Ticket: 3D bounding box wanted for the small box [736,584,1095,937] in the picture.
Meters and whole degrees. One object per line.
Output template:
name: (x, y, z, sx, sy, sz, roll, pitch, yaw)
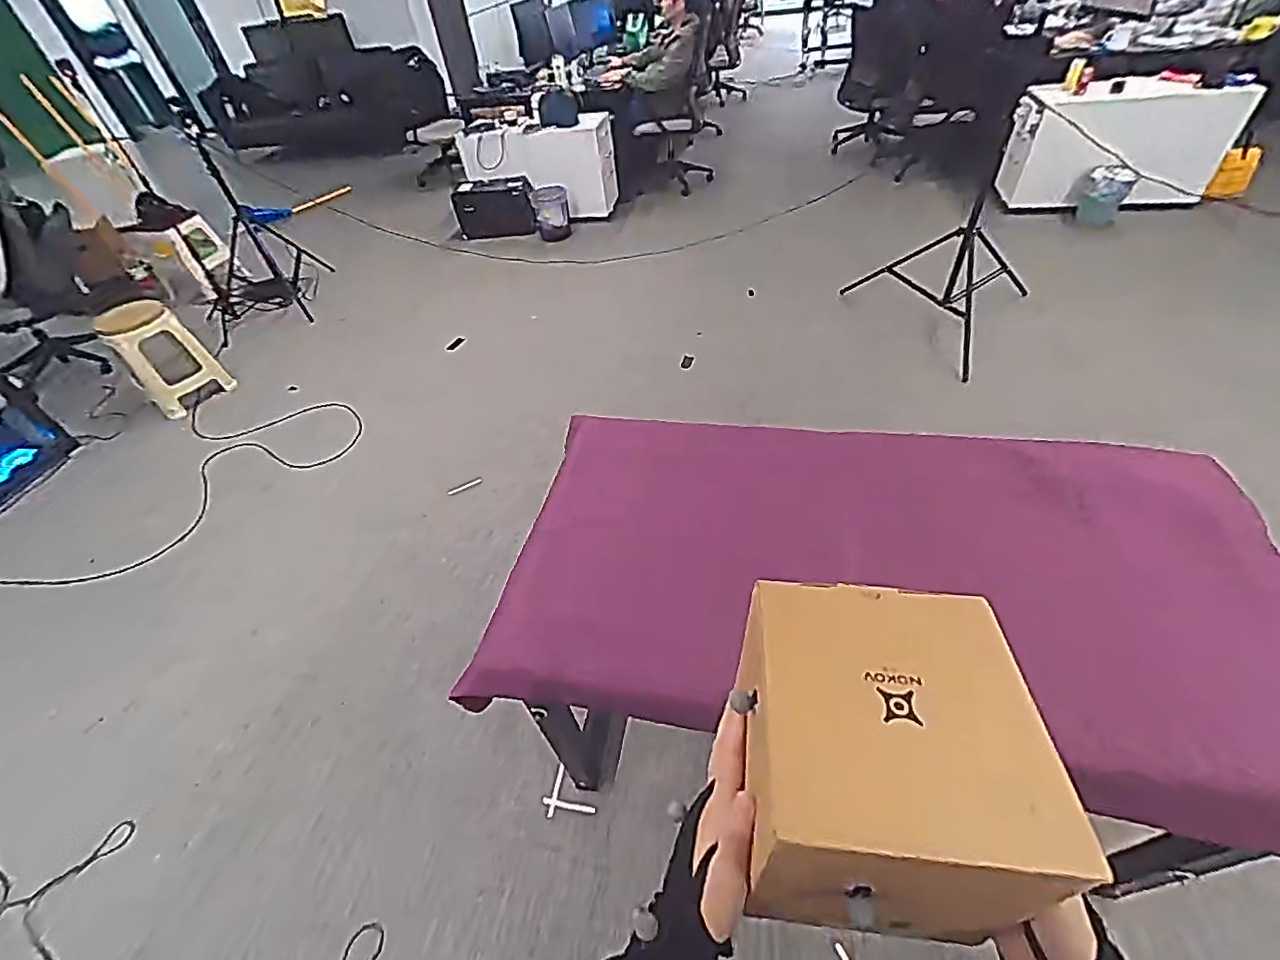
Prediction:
small box: (0.162, 0.201, 0.394, 0.168, 0.176, 0.179, 3, 40, 5)
